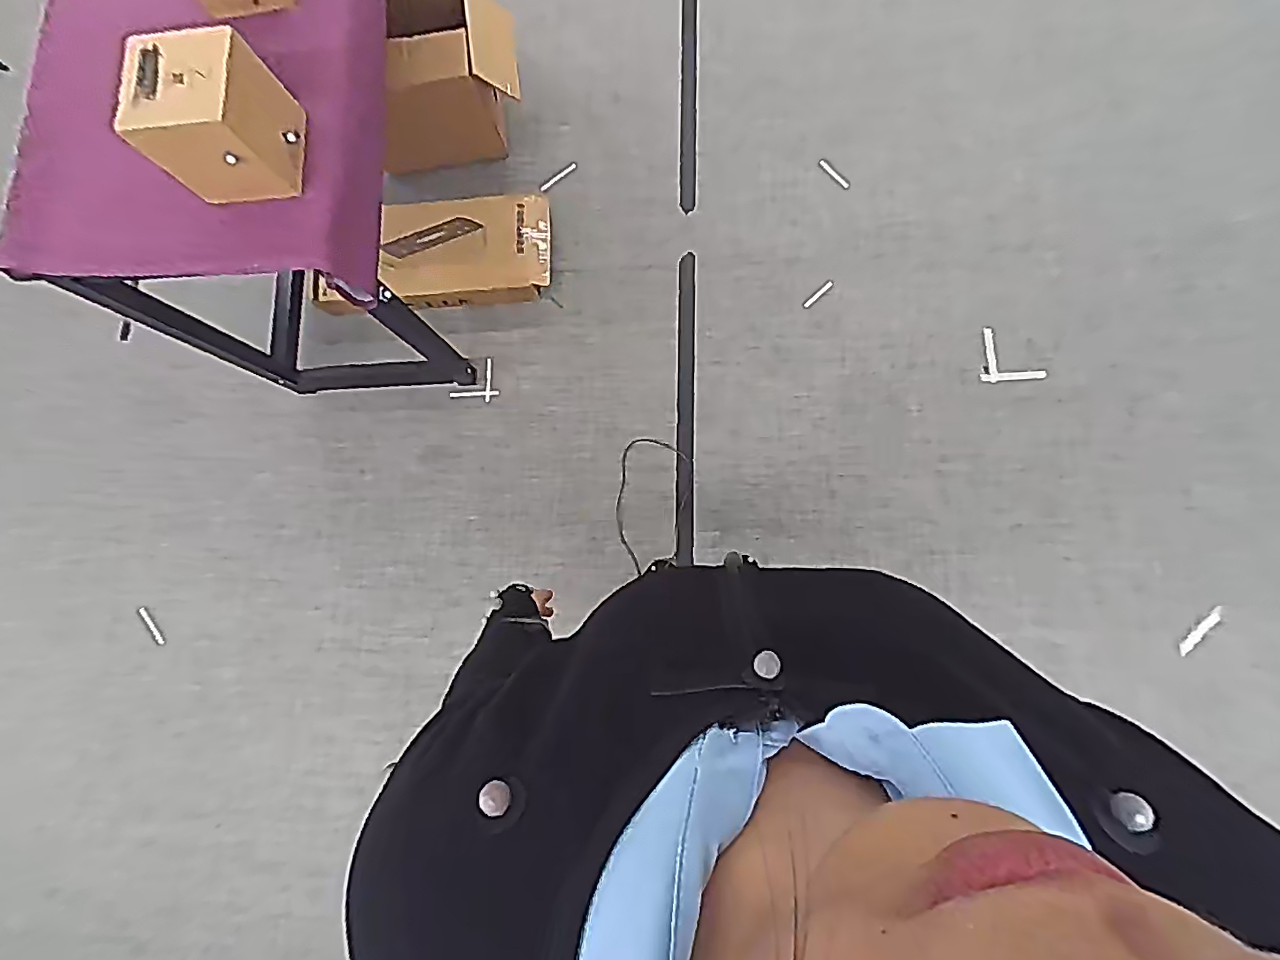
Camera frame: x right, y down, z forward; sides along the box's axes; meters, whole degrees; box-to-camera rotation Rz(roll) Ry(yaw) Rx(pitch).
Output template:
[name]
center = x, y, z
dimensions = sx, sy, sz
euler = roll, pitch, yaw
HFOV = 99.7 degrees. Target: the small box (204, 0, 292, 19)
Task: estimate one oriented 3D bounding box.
[small box]
center = -0.738, -0.972, 0.950
dimensions = 0.168, 0.176, 0.179
euler = -3, 81, 7
